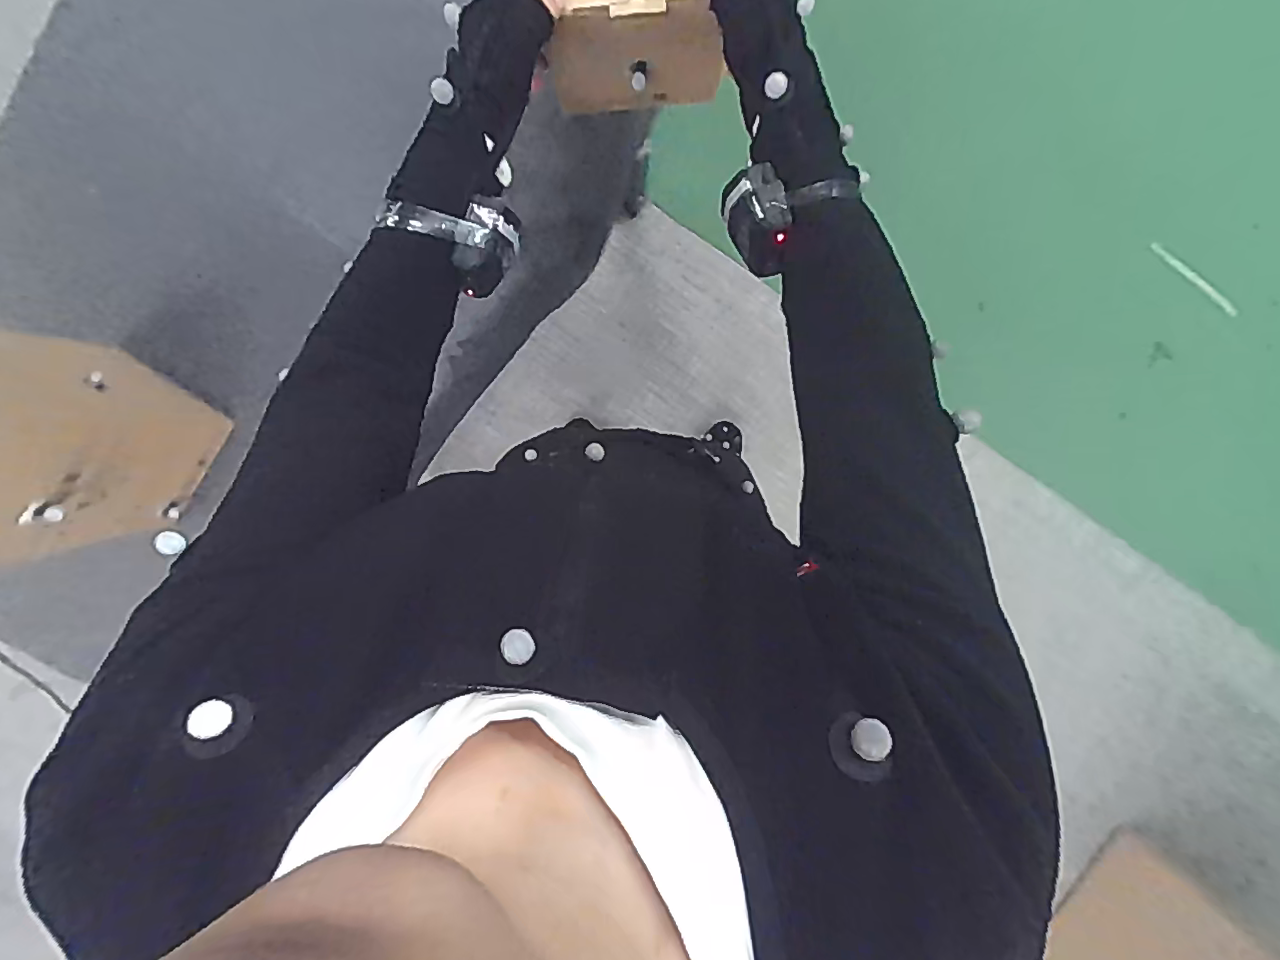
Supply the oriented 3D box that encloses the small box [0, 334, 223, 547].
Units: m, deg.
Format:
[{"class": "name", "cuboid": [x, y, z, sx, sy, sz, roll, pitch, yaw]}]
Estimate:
[{"class": "small box", "cuboid": [-0.645, -0.052, 0.623, 0.179, 0.176, 0.168, 34, 94, -4]}]
